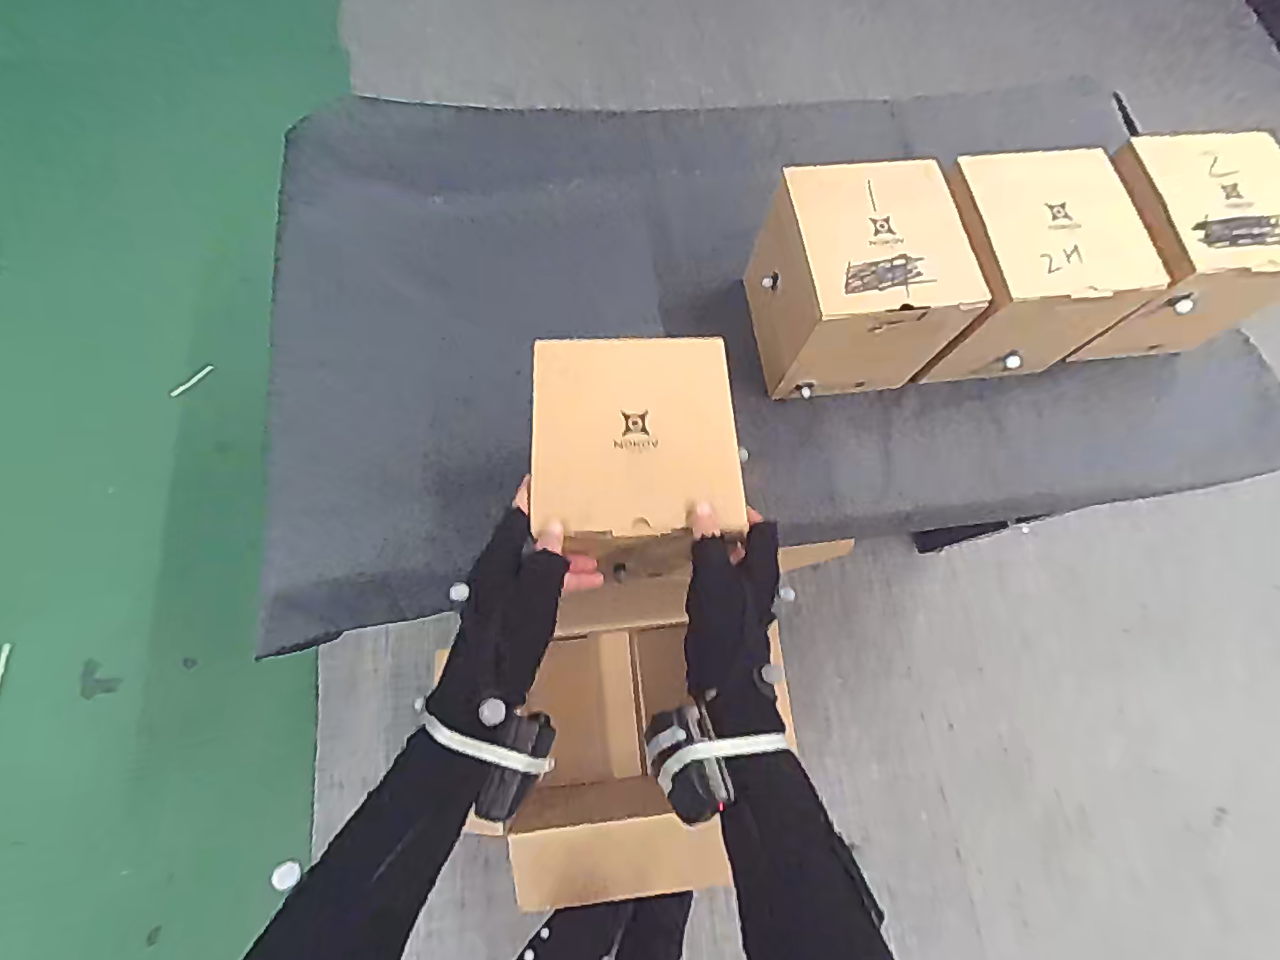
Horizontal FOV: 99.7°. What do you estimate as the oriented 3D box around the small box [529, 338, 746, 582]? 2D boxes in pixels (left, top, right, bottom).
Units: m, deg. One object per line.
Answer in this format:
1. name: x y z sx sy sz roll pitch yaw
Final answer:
1. small box: -0.010 -0.011 0.508 0.168 0.176 0.179 -2 67 -4
